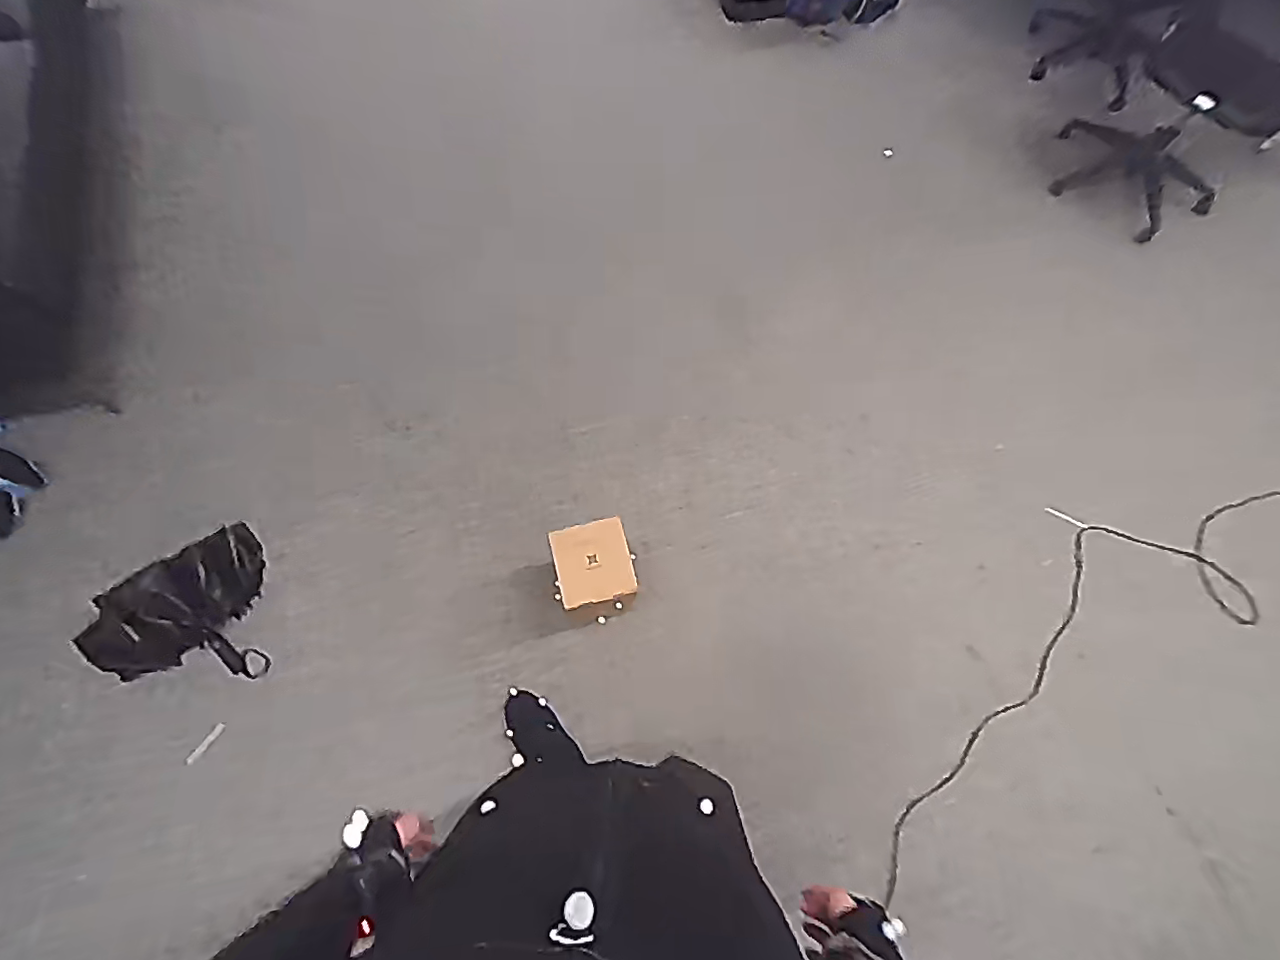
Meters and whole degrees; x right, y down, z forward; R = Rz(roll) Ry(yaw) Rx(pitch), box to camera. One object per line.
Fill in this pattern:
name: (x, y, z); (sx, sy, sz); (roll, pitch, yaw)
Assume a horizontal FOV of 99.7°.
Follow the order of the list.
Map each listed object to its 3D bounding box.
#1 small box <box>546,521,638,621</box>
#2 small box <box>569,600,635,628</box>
small box: (-0.108, 0.213, 1.228); (0.168, 0.176, 0.179); (-14, 70, -10)
small box: (-0.119, 0.266, 1.380); (0.168, 0.176, 0.179); (-15, 72, -9)
